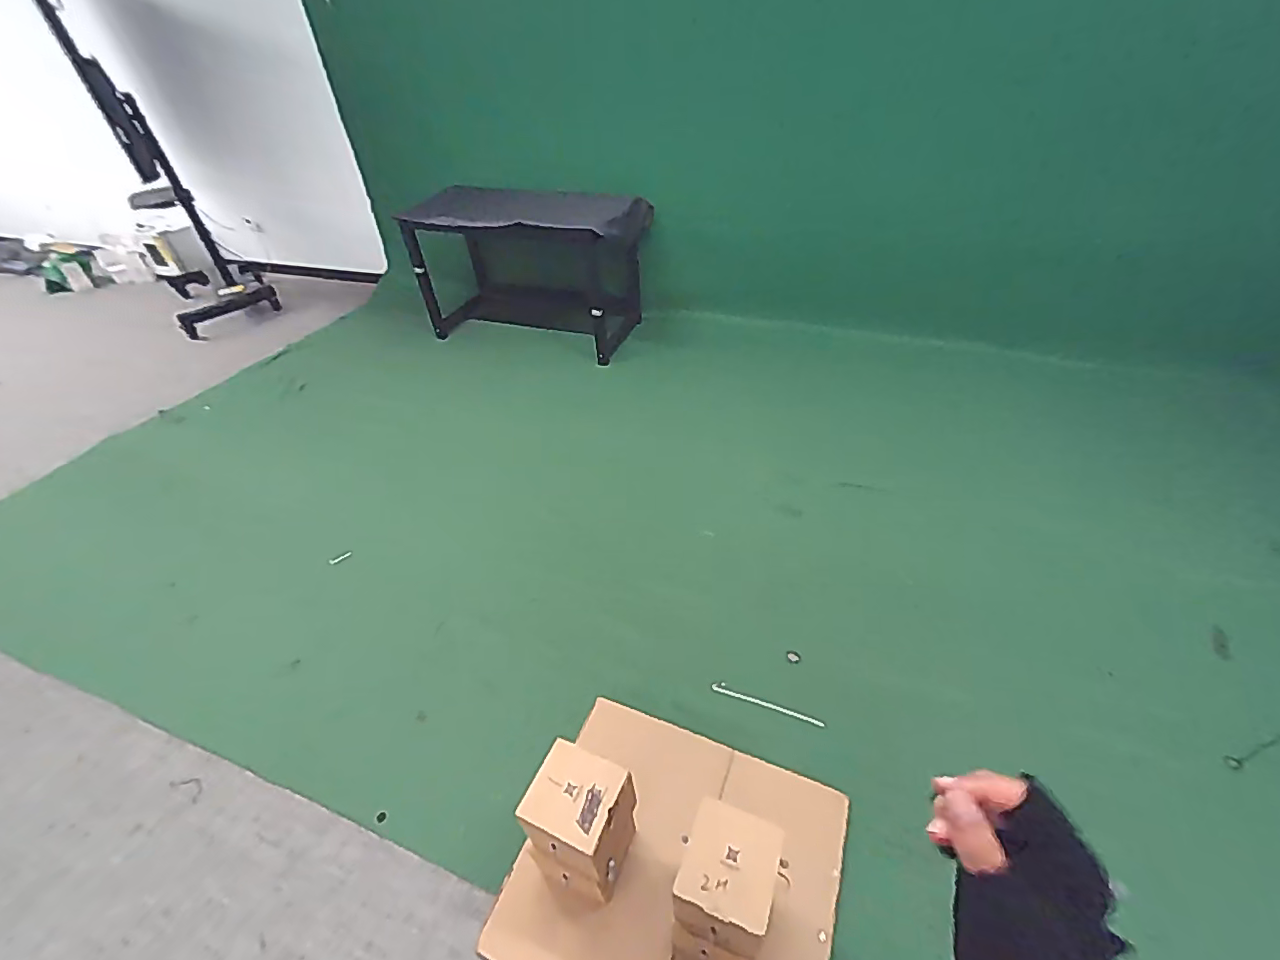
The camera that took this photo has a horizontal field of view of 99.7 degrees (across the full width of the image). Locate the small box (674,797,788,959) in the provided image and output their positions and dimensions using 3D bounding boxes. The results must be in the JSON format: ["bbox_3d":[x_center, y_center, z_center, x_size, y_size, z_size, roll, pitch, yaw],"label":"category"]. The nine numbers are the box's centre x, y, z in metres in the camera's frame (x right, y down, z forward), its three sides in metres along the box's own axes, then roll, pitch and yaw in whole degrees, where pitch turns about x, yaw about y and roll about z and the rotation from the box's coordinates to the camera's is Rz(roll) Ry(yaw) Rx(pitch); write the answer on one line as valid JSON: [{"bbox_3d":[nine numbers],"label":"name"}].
[{"bbox_3d":[0.169,0.747,1.016,0.168,0.176,0.179,13,43,20],"label":"small box"}]

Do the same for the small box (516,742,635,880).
[{"bbox_3d":[-0.122,0.683,1.112,0.179,0.176,0.168,13,43,23],"label":"small box"}]

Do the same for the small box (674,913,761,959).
[{"bbox_3d":[0.172,0.881,1.114,0.168,0.176,0.179,12,43,18],"label":"small box"}]
